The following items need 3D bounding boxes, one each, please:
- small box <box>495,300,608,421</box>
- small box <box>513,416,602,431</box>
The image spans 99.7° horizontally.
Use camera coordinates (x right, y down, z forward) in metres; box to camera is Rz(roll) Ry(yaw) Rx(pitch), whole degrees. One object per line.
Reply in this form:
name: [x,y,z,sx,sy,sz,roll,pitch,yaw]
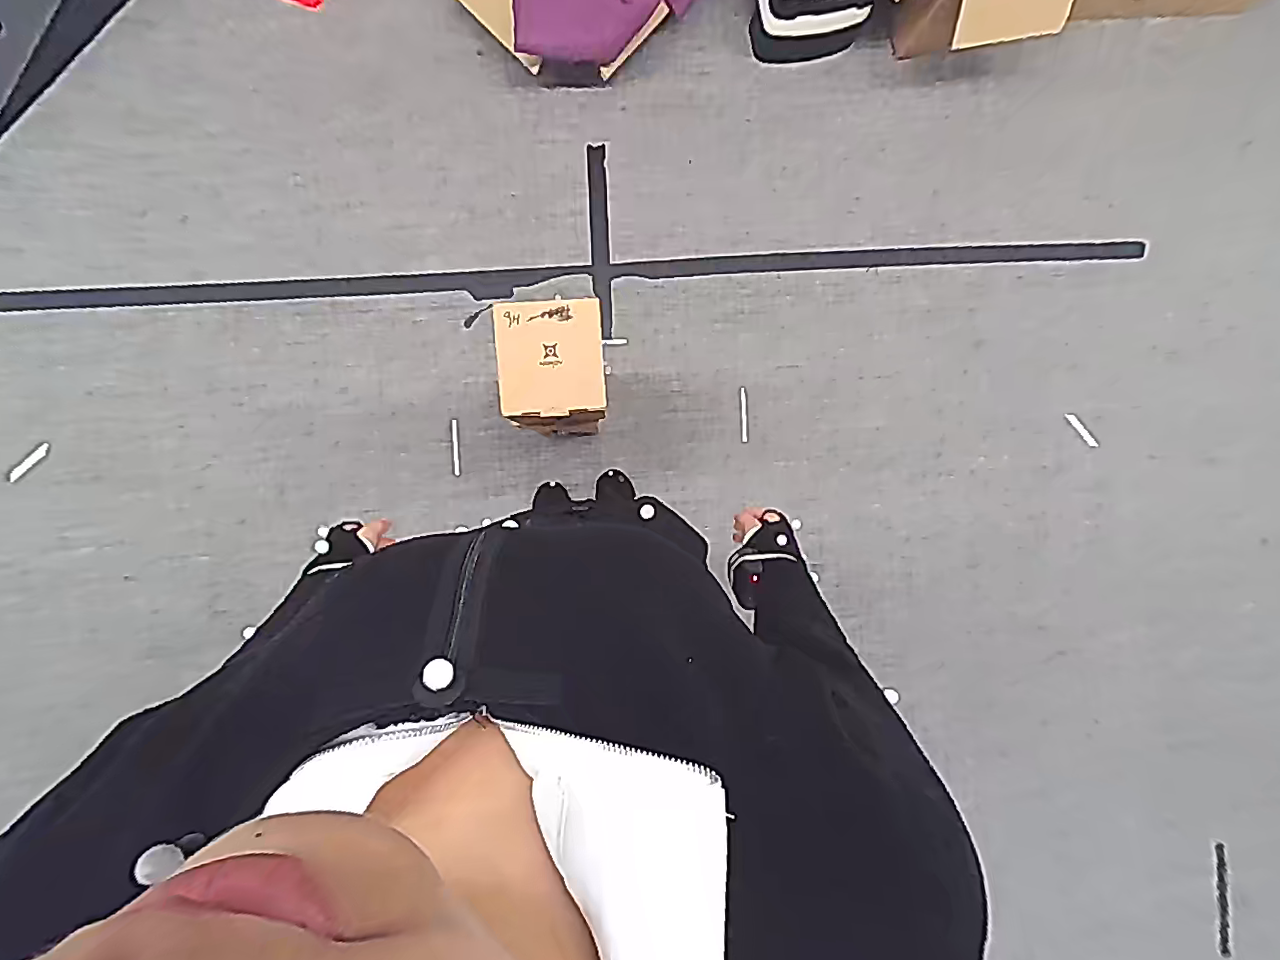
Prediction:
small box: [-0.141,-0.192,0.916,0.168,0.176,0.179,-4,93,-3]
small box: [-0.159,-0.190,1.079,0.168,0.176,0.179,0,93,-3]
